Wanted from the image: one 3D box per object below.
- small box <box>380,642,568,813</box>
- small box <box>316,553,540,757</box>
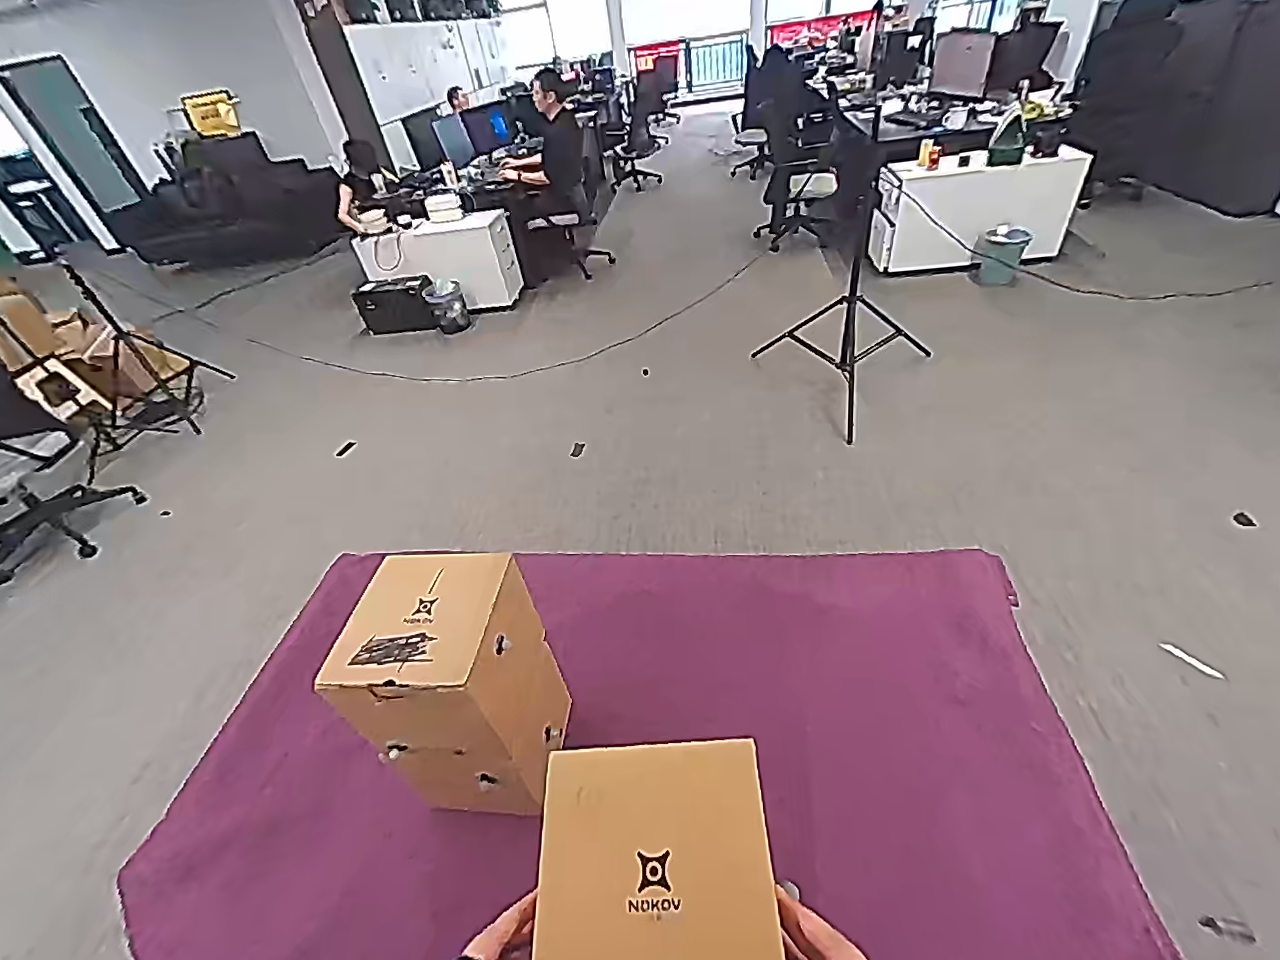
[{"bbox_3d":[-0.208,0.337,0.743,0.179,0.176,0.168,-2,40,10],"label":"small box"},{"bbox_3d":[-0.229,0.208,0.643,0.168,0.176,0.179,-2,40,8],"label":"small box"}]
